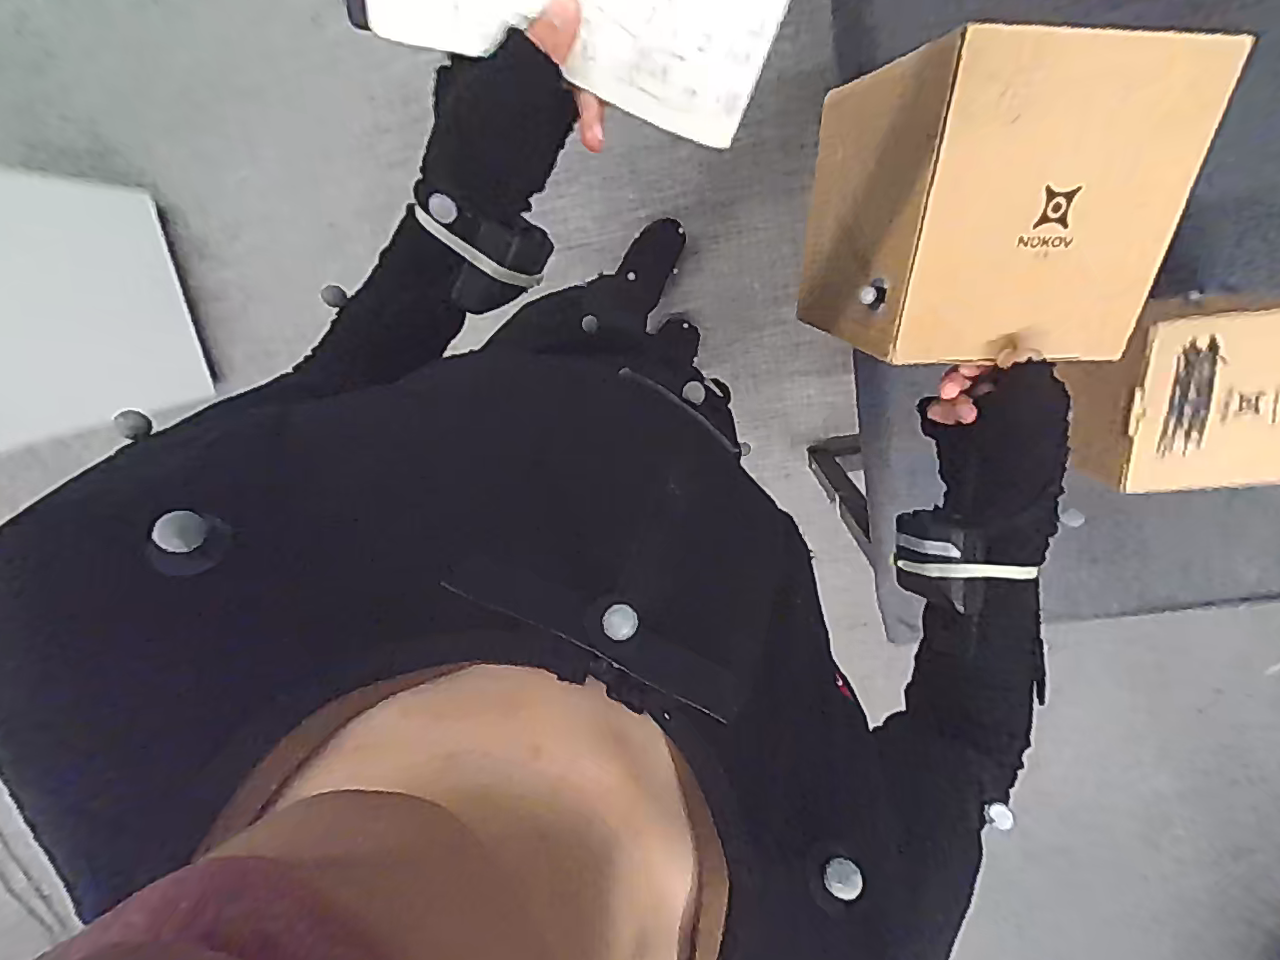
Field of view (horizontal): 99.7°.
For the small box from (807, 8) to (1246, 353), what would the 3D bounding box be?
[{"bbox_3d":[0.236,-0.198,0.389,0.168,0.176,0.179,-3,117,-6],"label":"small box"}]
